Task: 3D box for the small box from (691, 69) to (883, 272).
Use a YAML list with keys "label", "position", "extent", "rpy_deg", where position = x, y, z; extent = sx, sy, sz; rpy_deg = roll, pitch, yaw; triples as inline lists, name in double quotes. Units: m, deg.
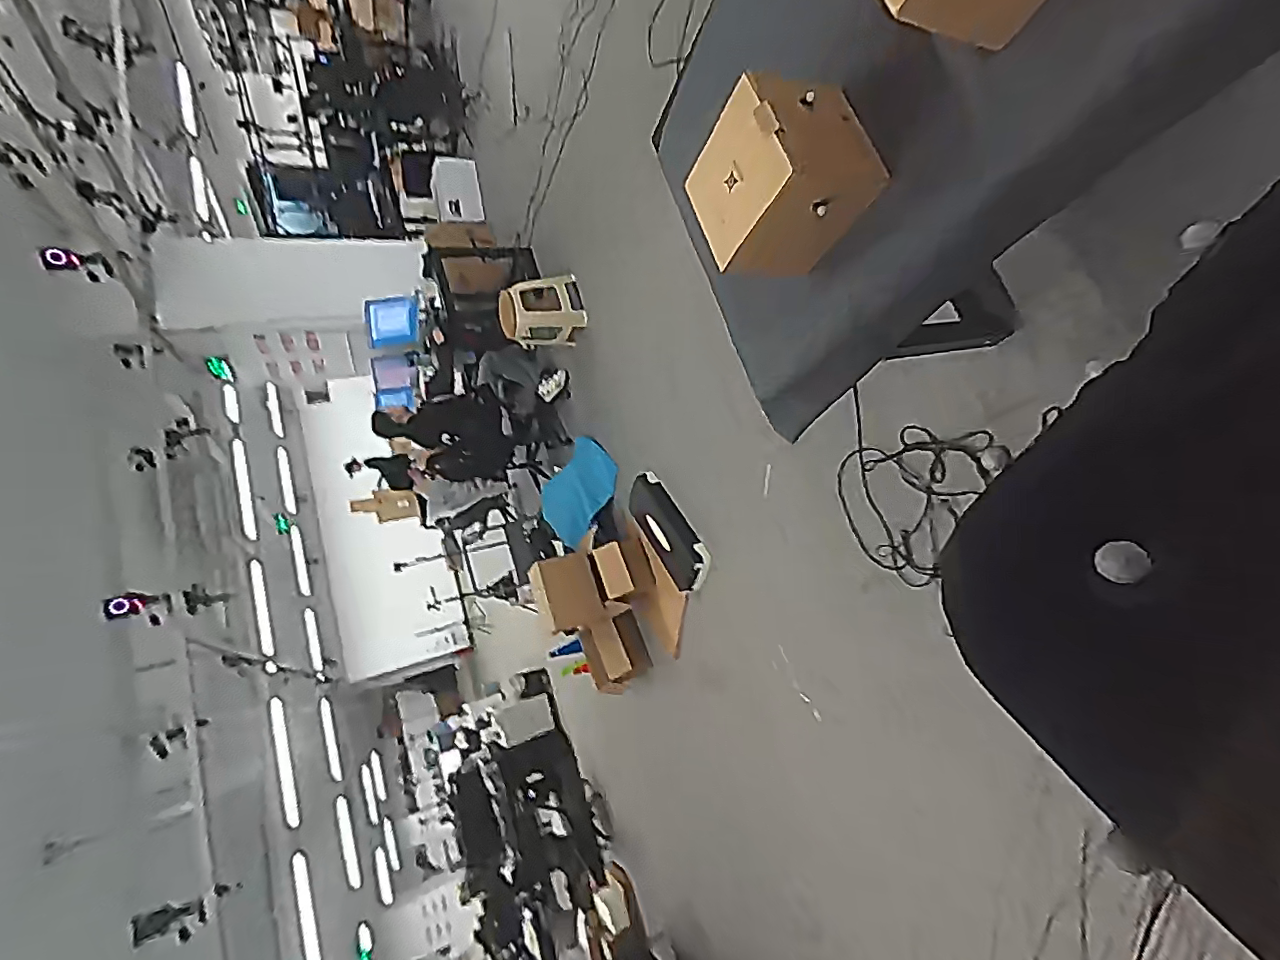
- label: "small box"
  position: [0.201, -0.414, 0.746]
  extent: [0.179, 0.176, 0.168]
  rpy_deg: [-48, 57, 60]
